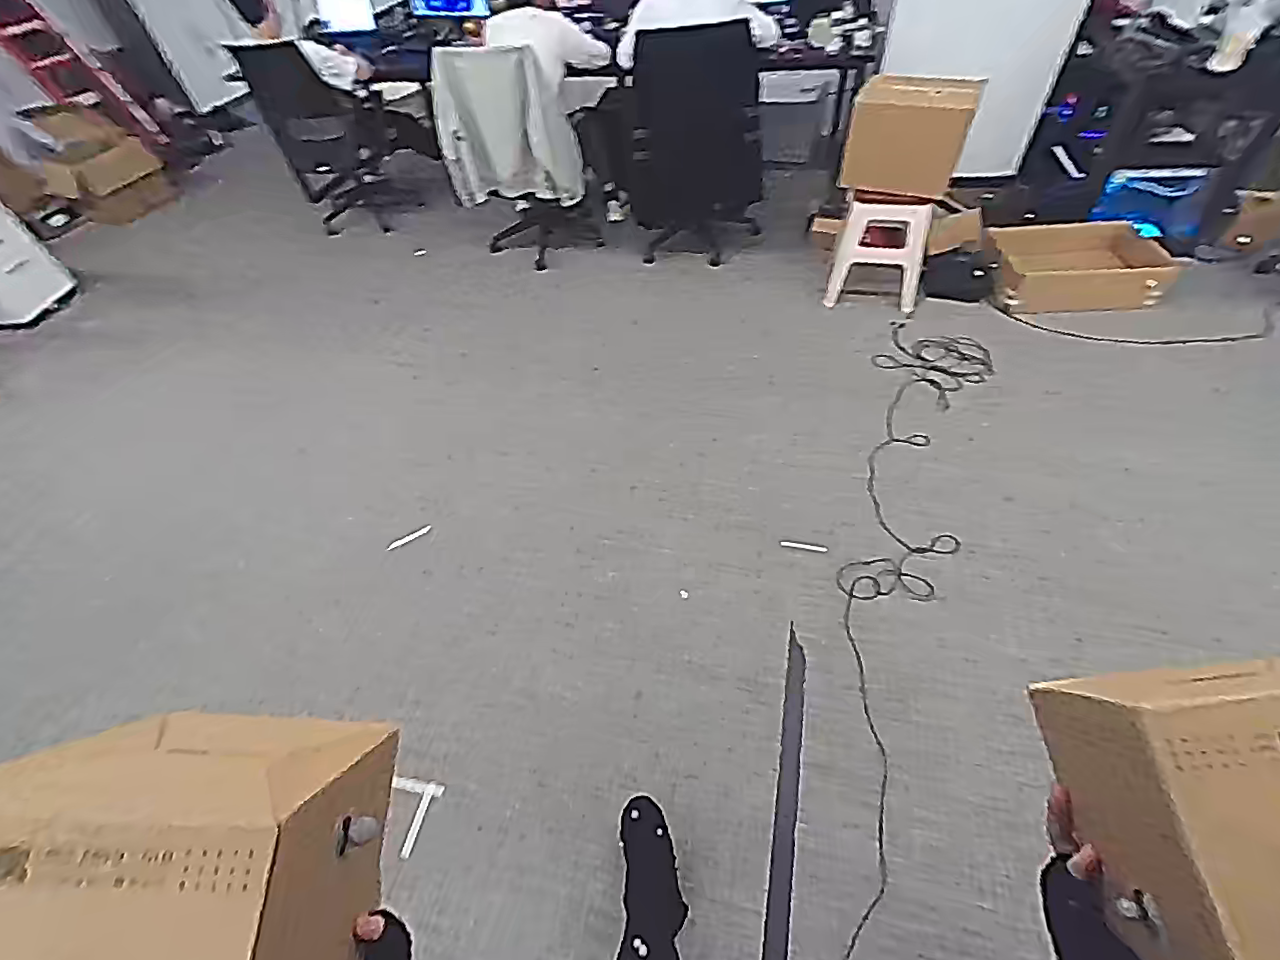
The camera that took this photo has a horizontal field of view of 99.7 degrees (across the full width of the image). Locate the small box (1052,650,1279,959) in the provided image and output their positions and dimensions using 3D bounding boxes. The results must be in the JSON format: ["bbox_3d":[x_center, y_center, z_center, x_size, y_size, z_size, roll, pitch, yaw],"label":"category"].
[{"bbox_3d":[0.379,0.193,0.310,0.168,0.179,0.176,-11,71,16],"label":"small box"}]
